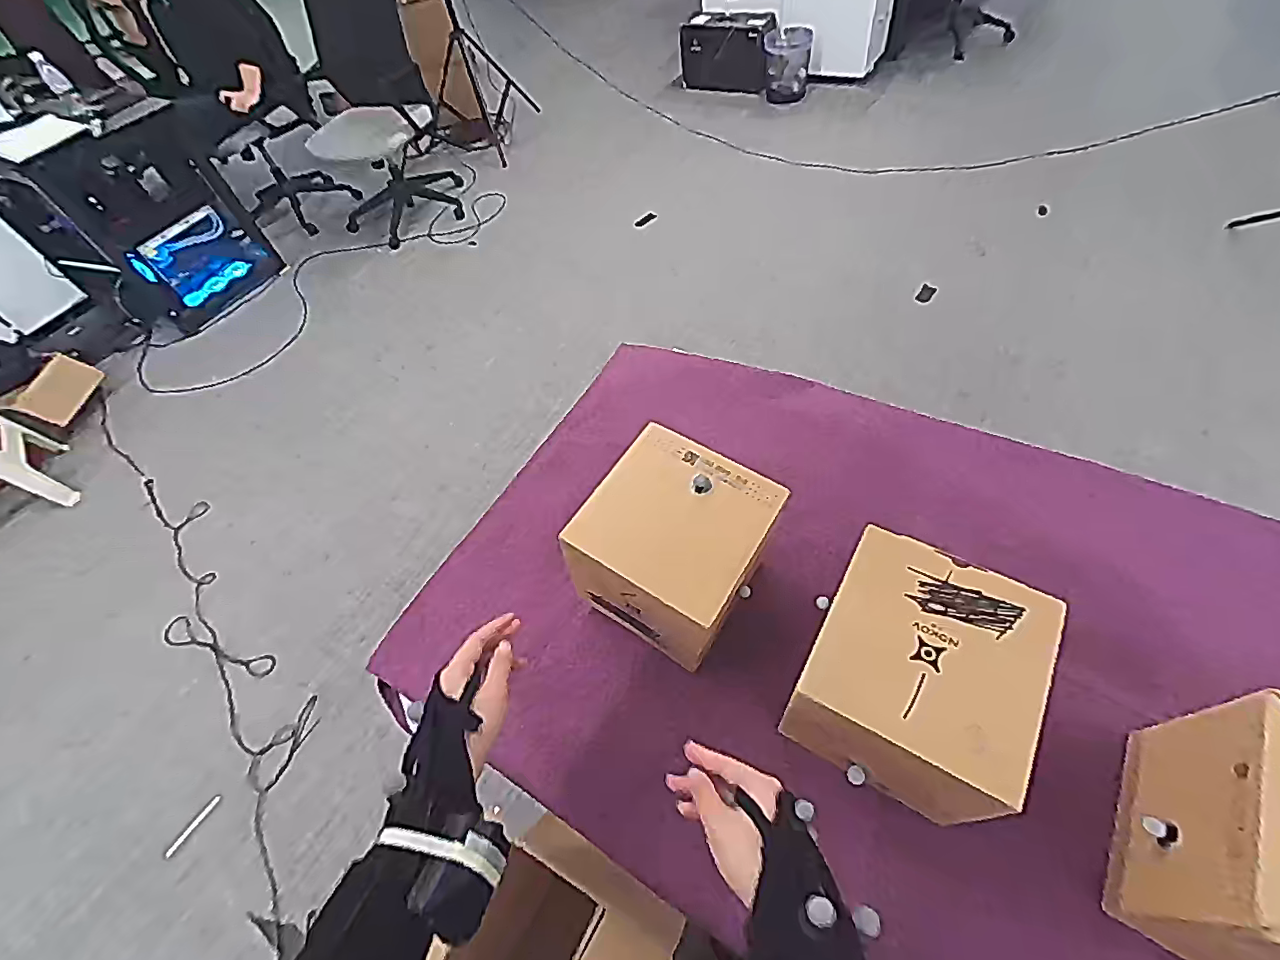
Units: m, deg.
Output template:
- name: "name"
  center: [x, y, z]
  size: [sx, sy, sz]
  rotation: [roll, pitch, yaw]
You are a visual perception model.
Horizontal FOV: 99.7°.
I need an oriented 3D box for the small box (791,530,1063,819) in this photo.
- name: "small box"
  center: [0.253, 0.184, 0.511]
  size: [0.168, 0.176, 0.179]
  rotation: [23, 61, 24]
